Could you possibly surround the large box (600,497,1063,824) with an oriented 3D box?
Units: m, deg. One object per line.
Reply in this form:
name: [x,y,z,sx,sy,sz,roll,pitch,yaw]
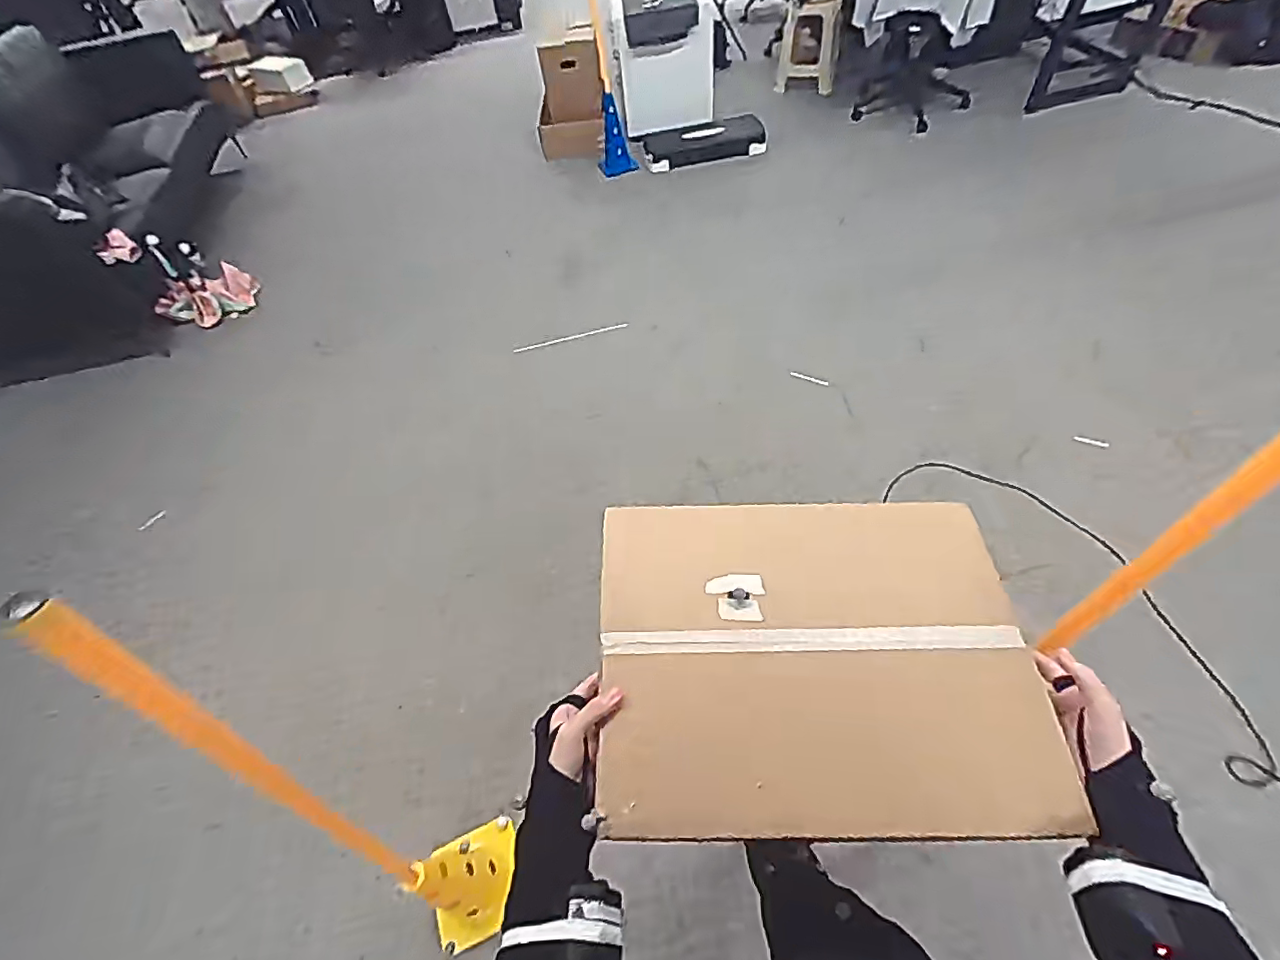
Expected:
large box: [0.168,0.237,0.667,0.408,0.320,0.320,-2,55,2]
